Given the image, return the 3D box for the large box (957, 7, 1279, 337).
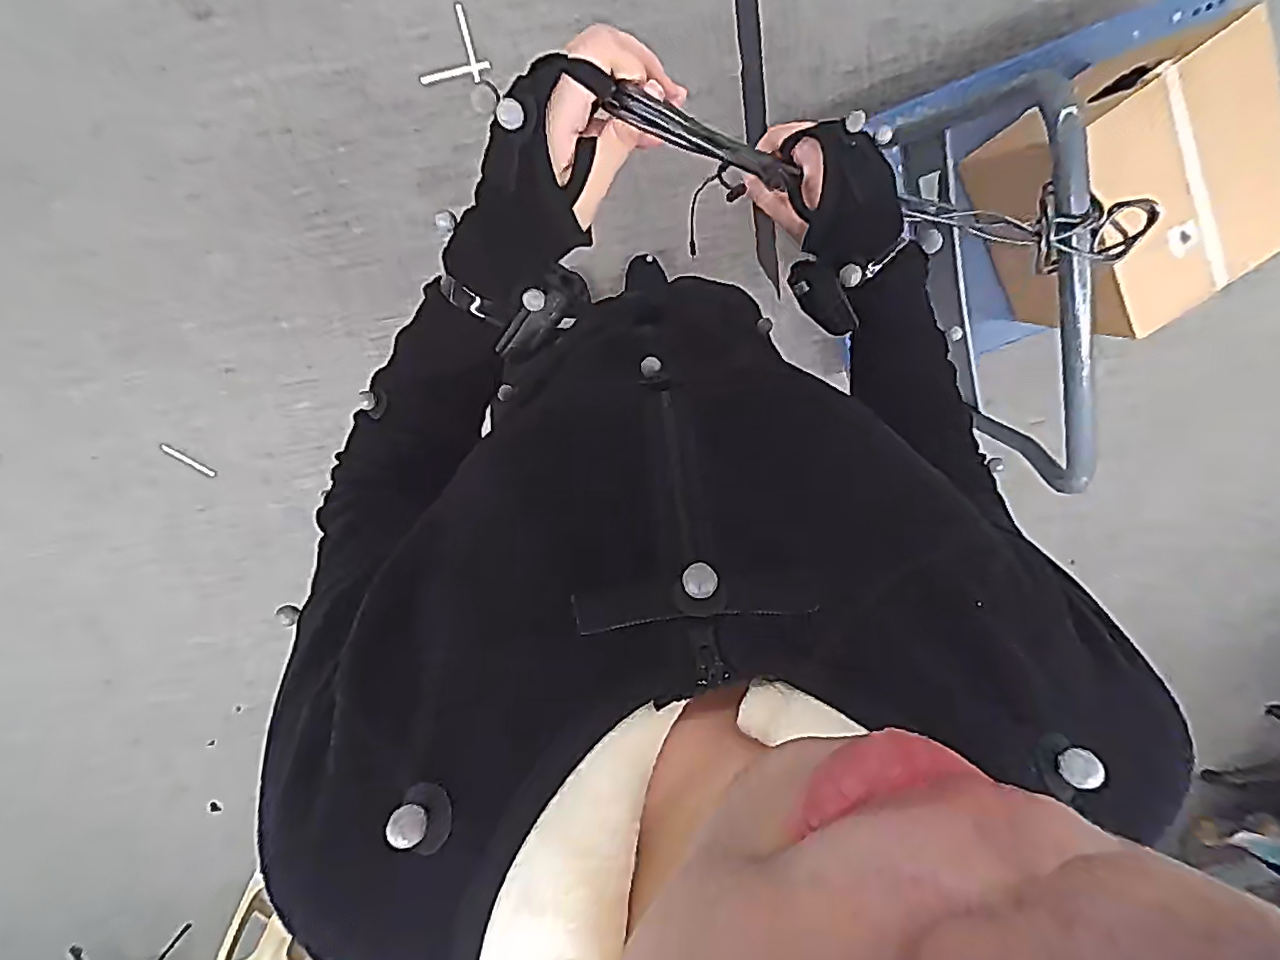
[{"bbox_3d":[0.910,-0.550,1.046,0.320,0.320,0.408,-35,112,10],"label":"large box"}]
